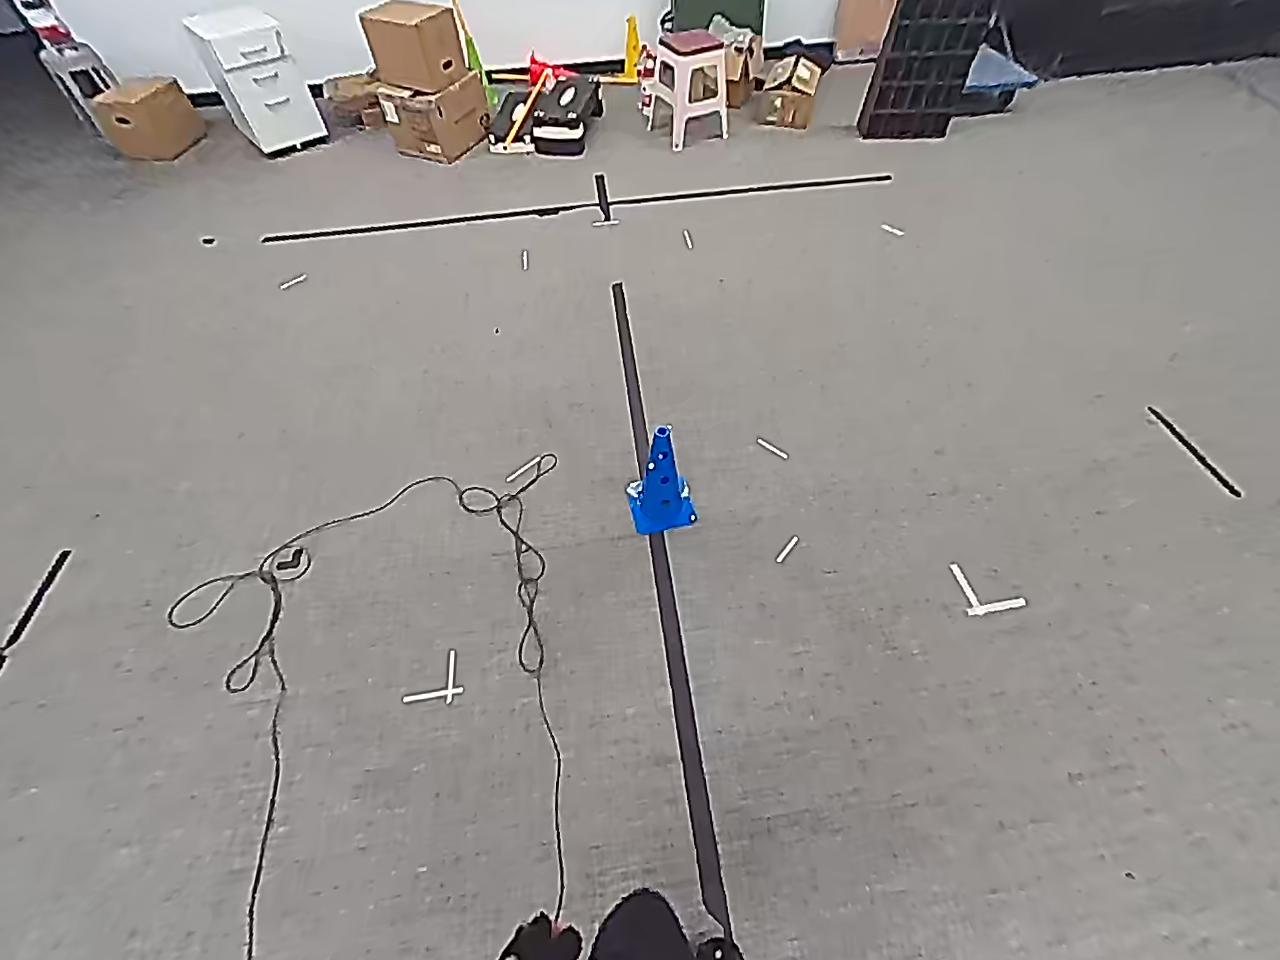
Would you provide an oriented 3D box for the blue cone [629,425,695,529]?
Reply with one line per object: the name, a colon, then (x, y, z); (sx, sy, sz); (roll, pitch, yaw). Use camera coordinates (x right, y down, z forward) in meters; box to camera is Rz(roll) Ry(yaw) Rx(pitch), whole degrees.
blue cone: (0.067, -0.026, 1.619); (0.192, 0.380, 0.193); (-9, 54, -6)
